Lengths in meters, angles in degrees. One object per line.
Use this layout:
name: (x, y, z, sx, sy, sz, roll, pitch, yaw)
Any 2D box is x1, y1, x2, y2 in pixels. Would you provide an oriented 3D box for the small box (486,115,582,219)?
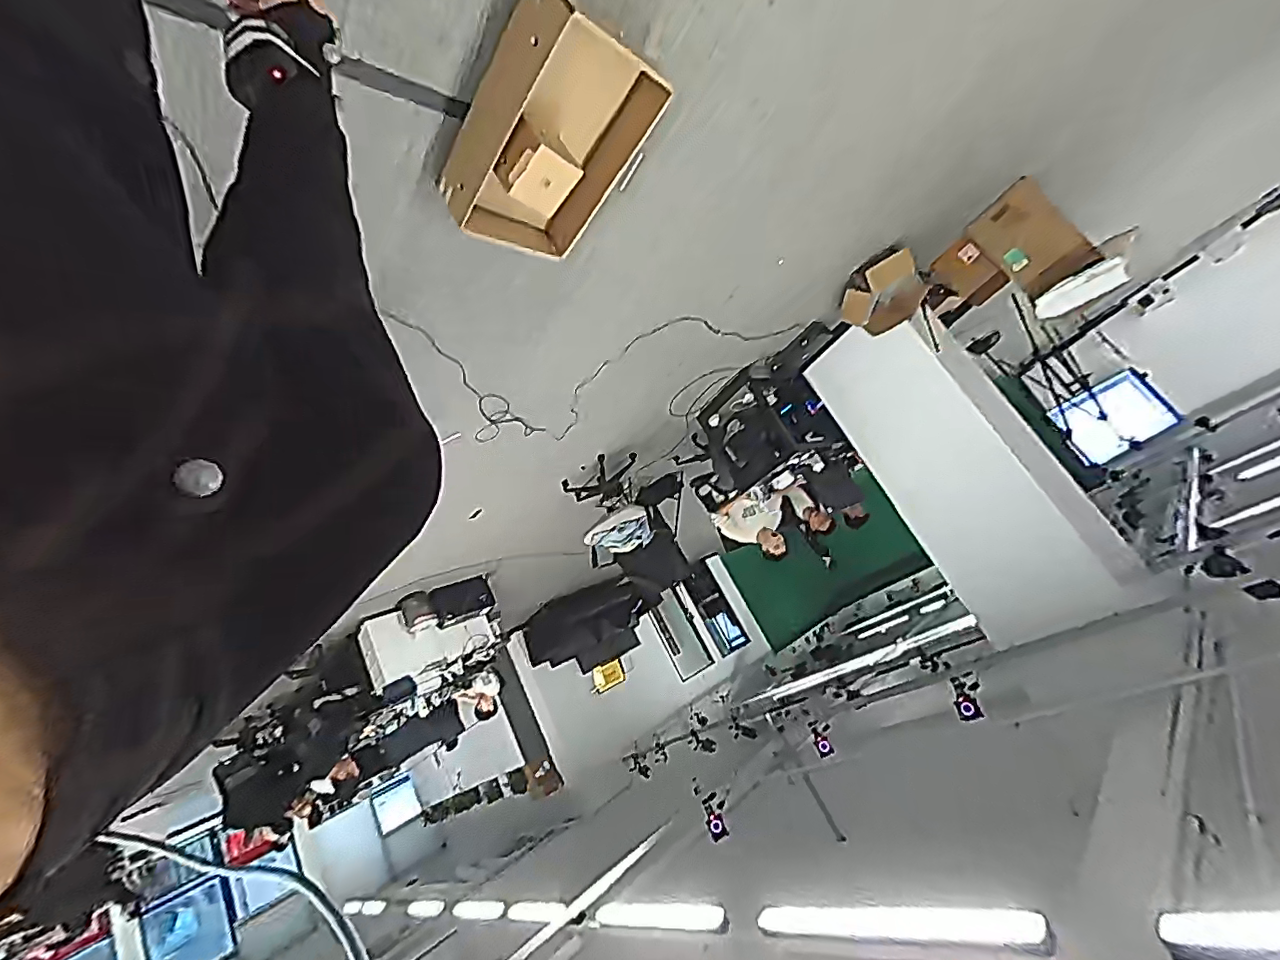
small box: (-0.306, -0.894, 1.542, 0.168, 0.176, 0.179, -39, 160, 28)
